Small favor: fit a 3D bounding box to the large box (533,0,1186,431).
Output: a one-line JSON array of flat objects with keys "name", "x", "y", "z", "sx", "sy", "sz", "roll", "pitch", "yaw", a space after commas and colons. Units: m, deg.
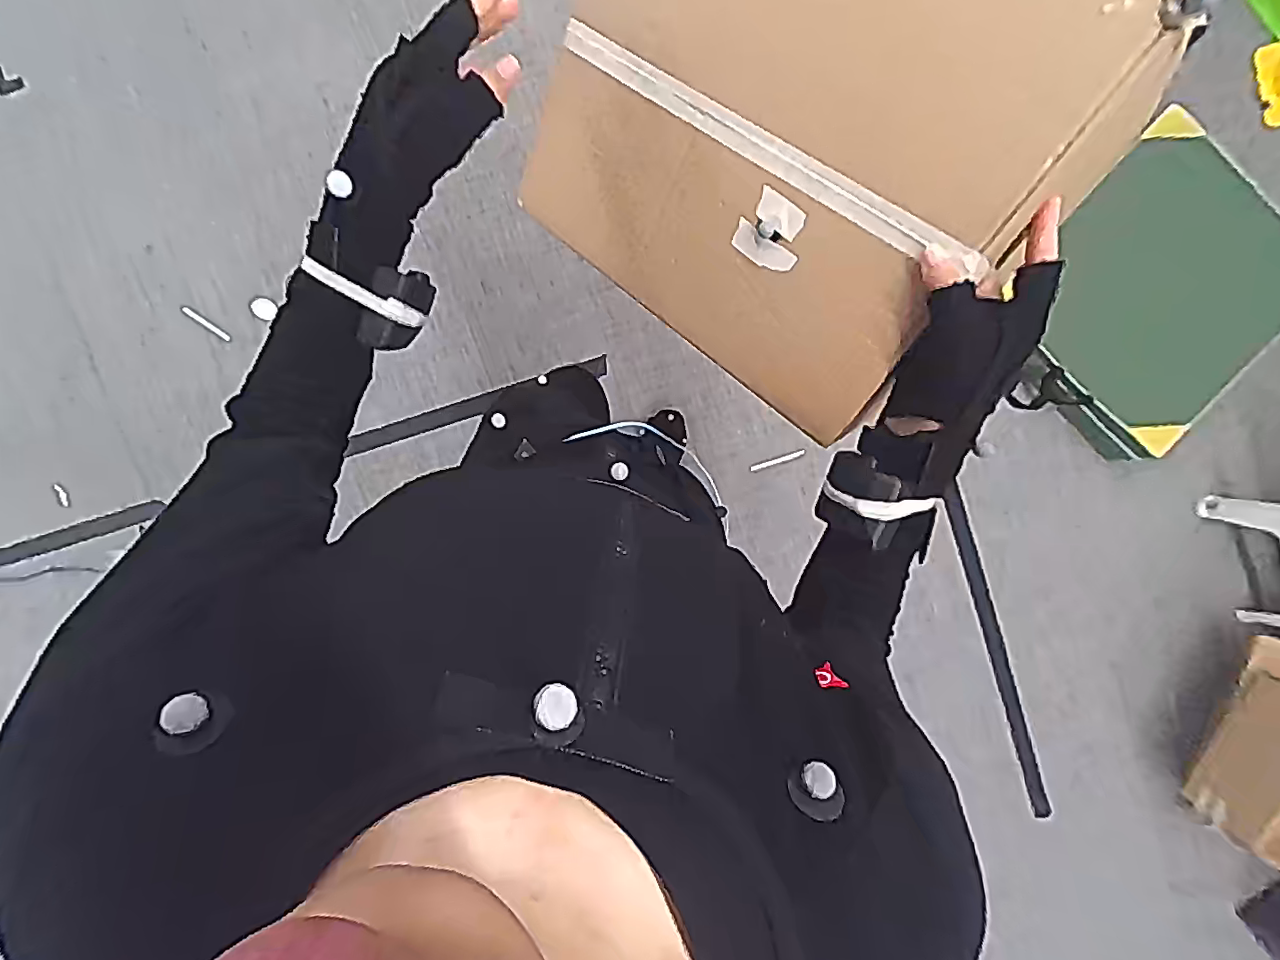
[{"name": "large box", "x": 0.171, "y": -0.312, "z": 0.541, "sx": 0.408, "sy": 0.320, "sz": 0.320, "roll": 42, "pitch": 127, "yaw": 18}]
